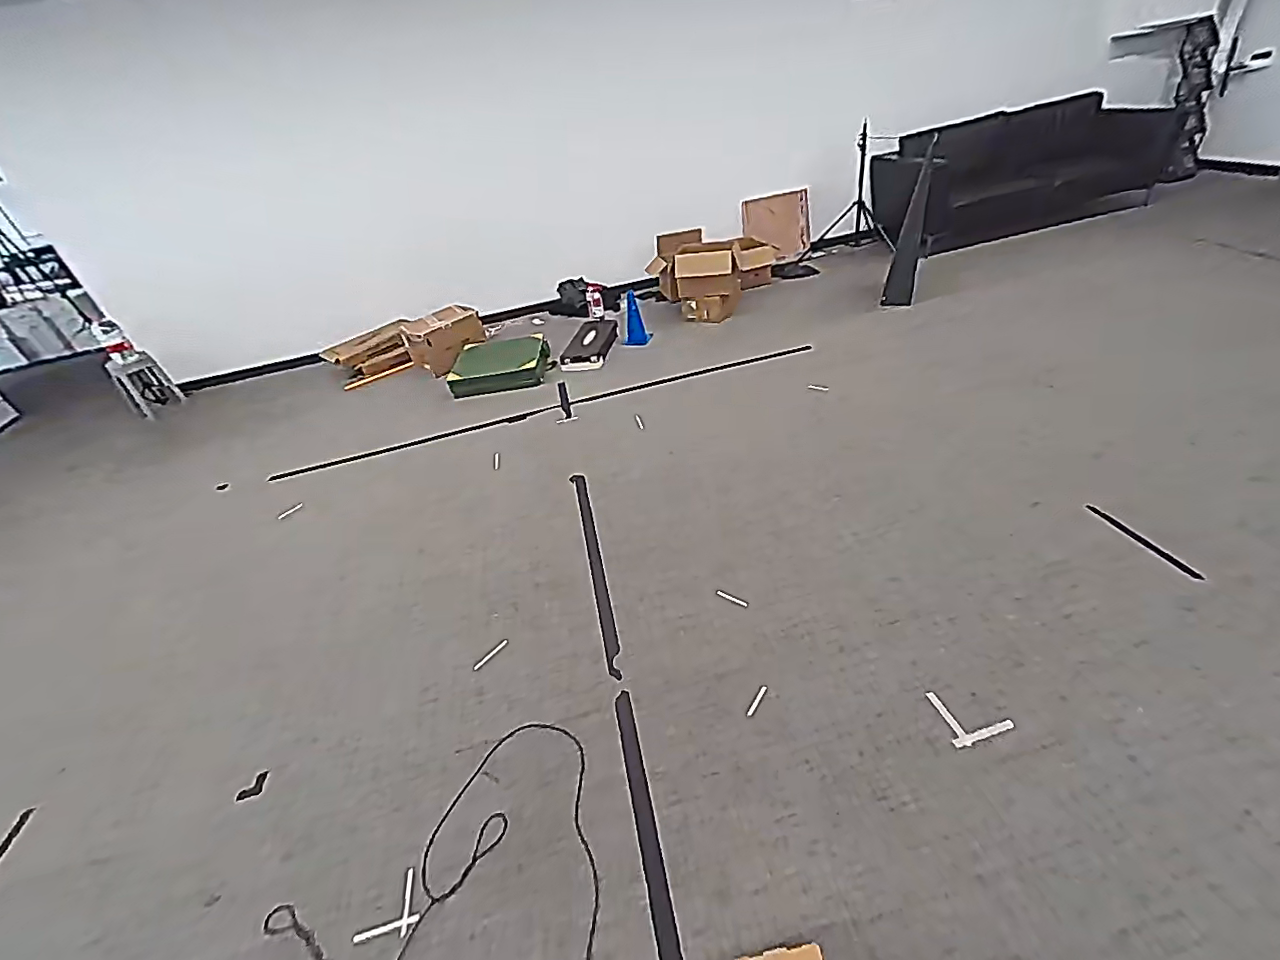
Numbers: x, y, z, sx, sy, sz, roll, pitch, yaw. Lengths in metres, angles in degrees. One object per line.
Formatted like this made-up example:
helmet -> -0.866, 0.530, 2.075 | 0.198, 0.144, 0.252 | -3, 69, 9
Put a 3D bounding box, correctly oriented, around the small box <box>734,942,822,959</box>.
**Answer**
small box -> 0.275, 1.002, 0.999 | 0.168, 0.176, 0.179 | -11, 35, 0
